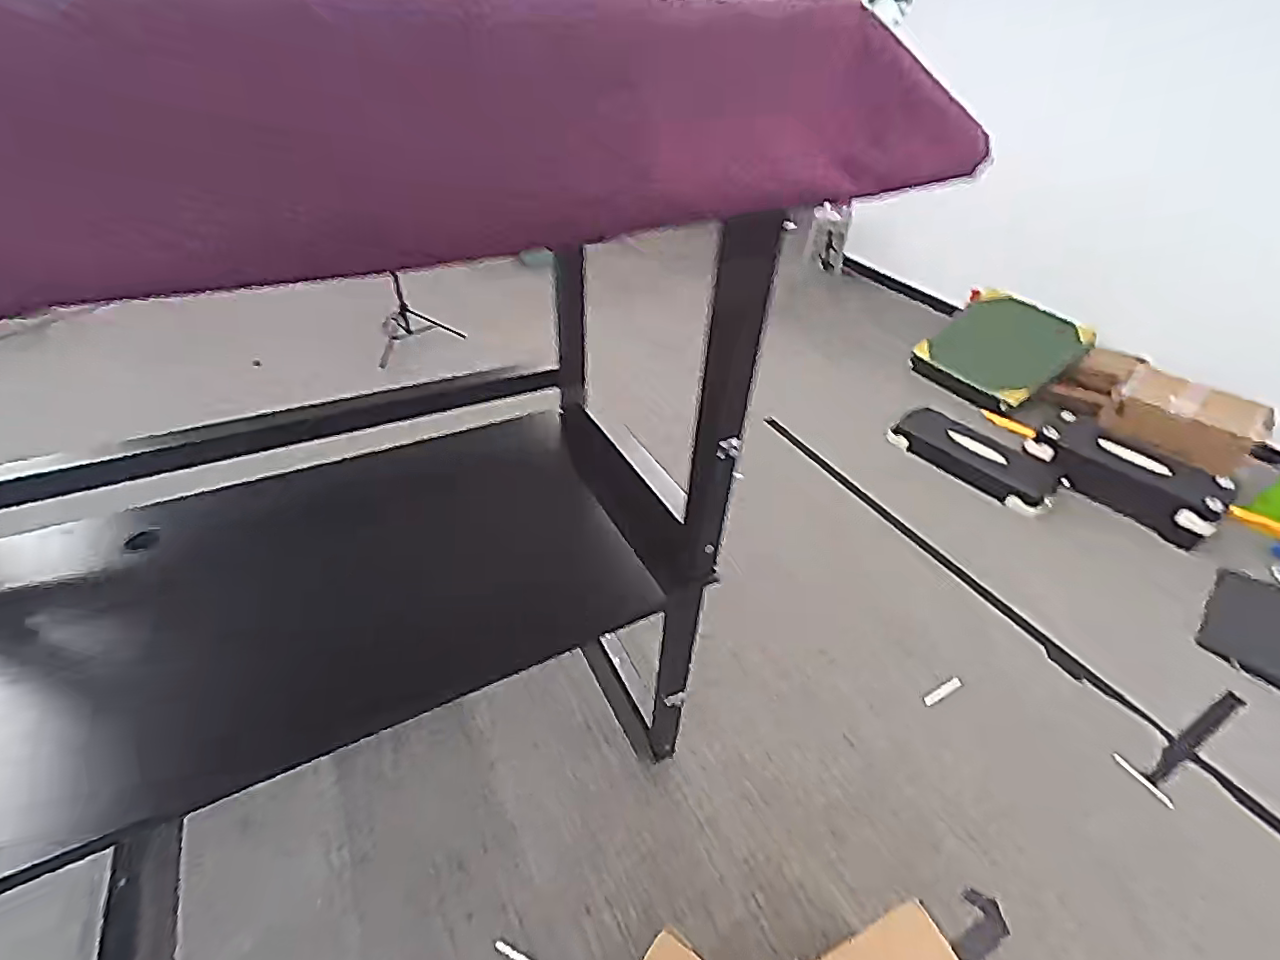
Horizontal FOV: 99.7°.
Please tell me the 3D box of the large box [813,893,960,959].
[{"bbox_3d":[0.361,0.986,0.884,0.408,0.320,0.320,-14,45,-21],"label":"large box"}]
